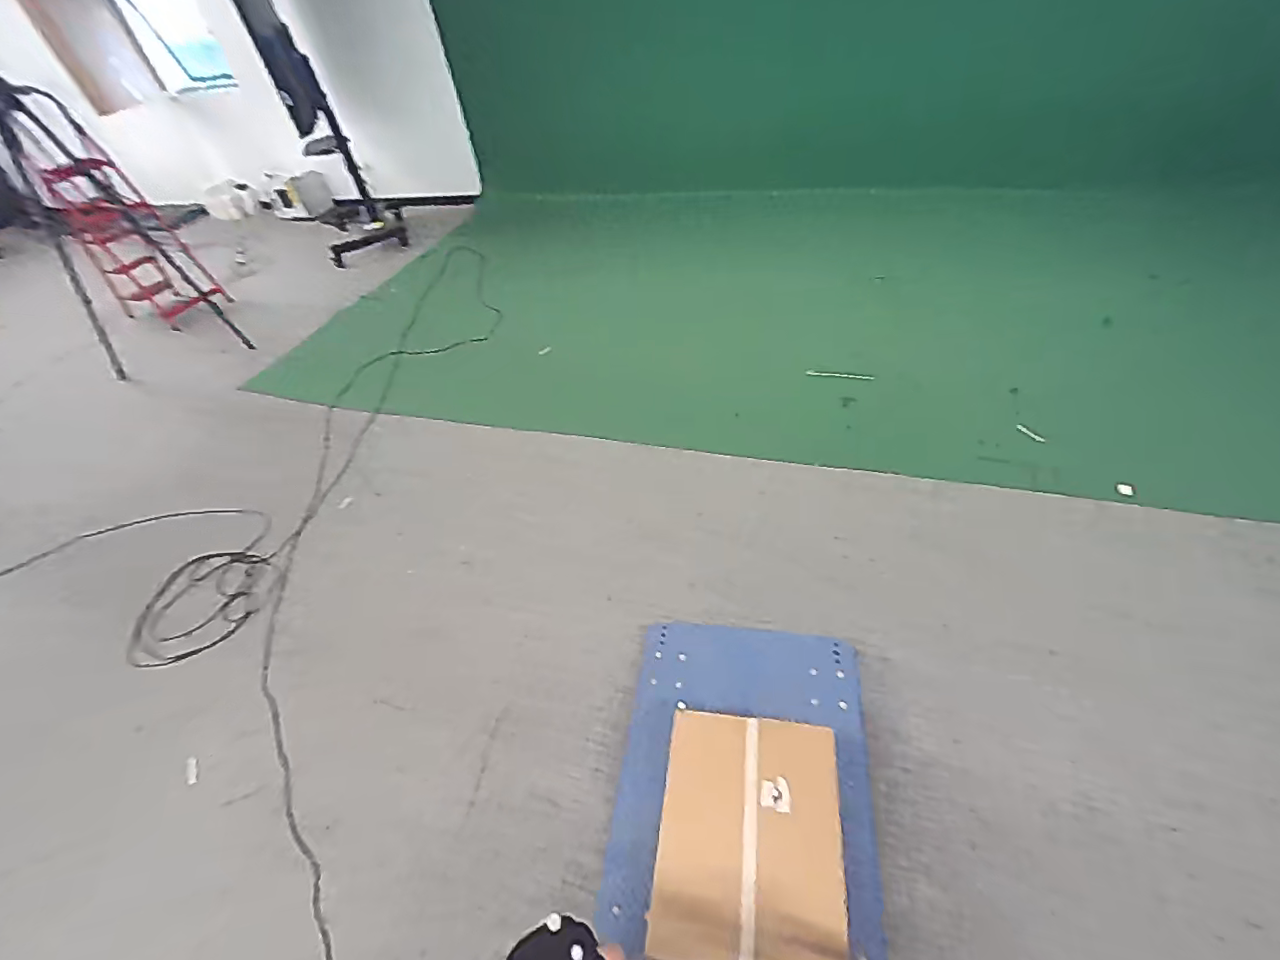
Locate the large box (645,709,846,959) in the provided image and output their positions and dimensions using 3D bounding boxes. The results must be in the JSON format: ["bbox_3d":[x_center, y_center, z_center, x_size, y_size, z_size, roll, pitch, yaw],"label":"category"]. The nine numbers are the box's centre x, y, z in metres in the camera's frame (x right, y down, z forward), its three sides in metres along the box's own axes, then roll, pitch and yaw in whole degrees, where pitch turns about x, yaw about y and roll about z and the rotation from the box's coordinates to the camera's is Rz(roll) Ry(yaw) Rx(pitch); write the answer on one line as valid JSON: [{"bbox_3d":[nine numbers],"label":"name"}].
[{"bbox_3d":[0.204,0.727,1.062,0.320,0.320,0.408,3,45,11],"label":"large box"}]
